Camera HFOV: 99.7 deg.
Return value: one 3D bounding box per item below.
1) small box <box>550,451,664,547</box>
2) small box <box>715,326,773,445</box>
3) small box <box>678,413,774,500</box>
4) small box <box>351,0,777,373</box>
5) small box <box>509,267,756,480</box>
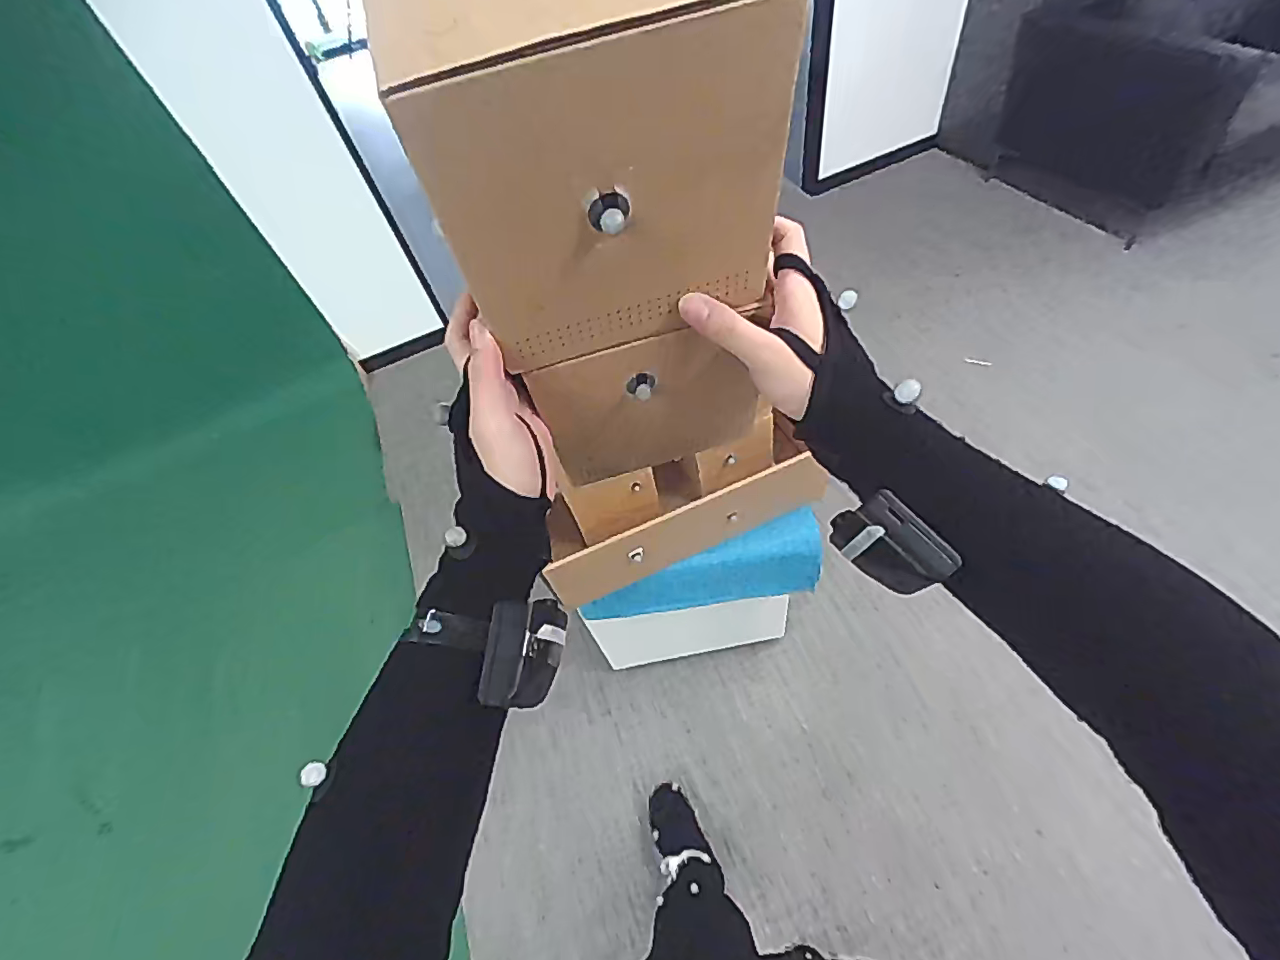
[{"bbox_3d":[-0.066,0.012,1.130,0.179,0.176,0.168,-23,50,-7],"label":"small box"},{"bbox_3d":[0.137,-0.187,1.024,0.179,0.176,0.168,-27,51,-8],"label":"small box"},{"bbox_3d":[0.171,-0.087,1.149,0.179,0.176,0.168,-27,51,-6],"label":"small box"},{"bbox_3d":[-0.040,-0.194,0.322,0.179,0.176,0.168,-19,62,-3],"label":"small box"},{"bbox_3d":[-0.014,-0.120,0.467,0.179,0.176,0.168,-16,62,-2],"label":"small box"}]
